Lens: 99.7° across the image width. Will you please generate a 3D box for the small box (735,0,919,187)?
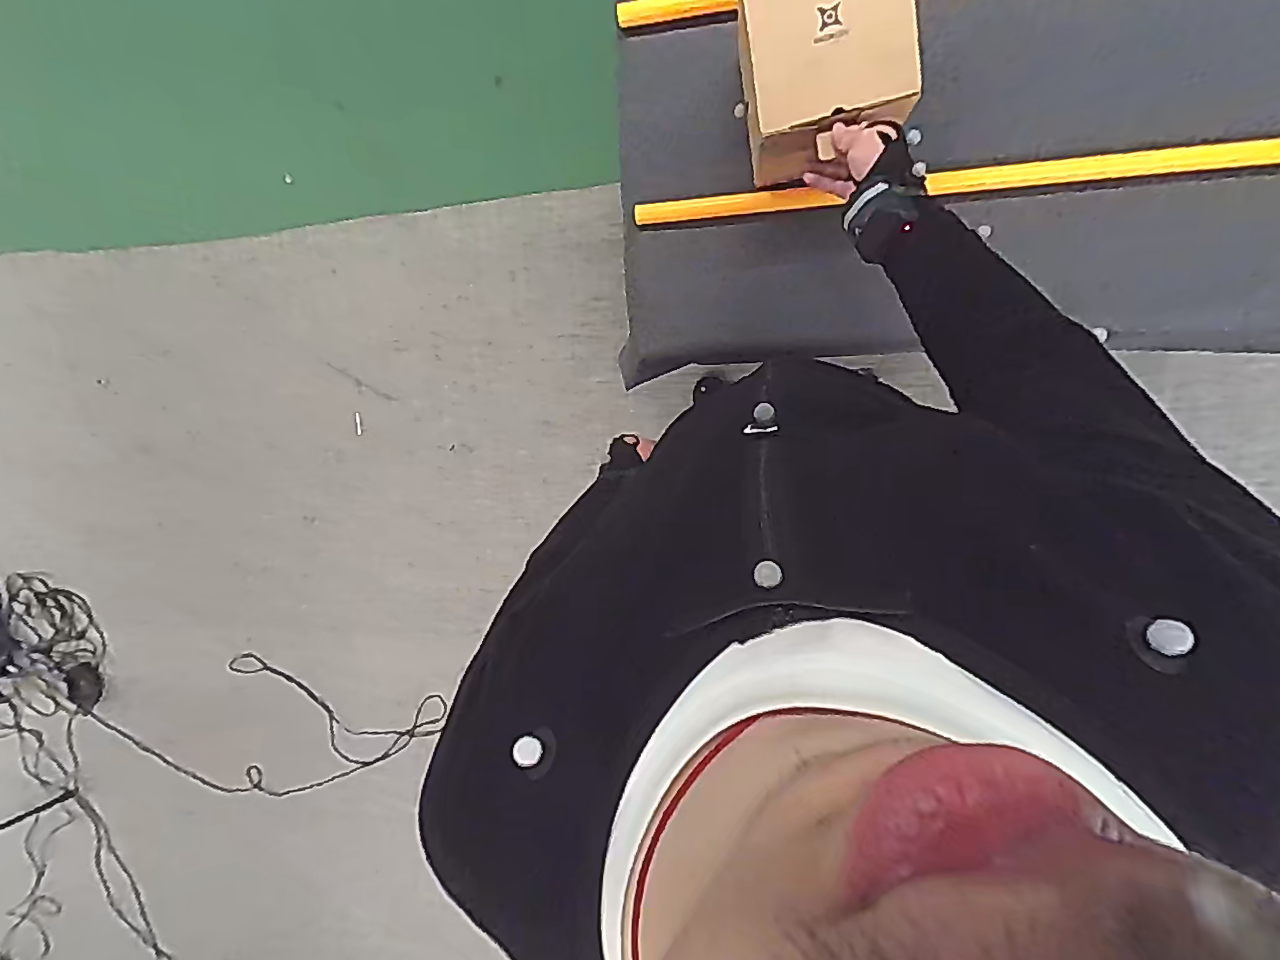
[{"bbox_3d":[0.215,-0.479,0.648,0.168,0.176,0.179,-11,97,14],"label":"small box"}]
